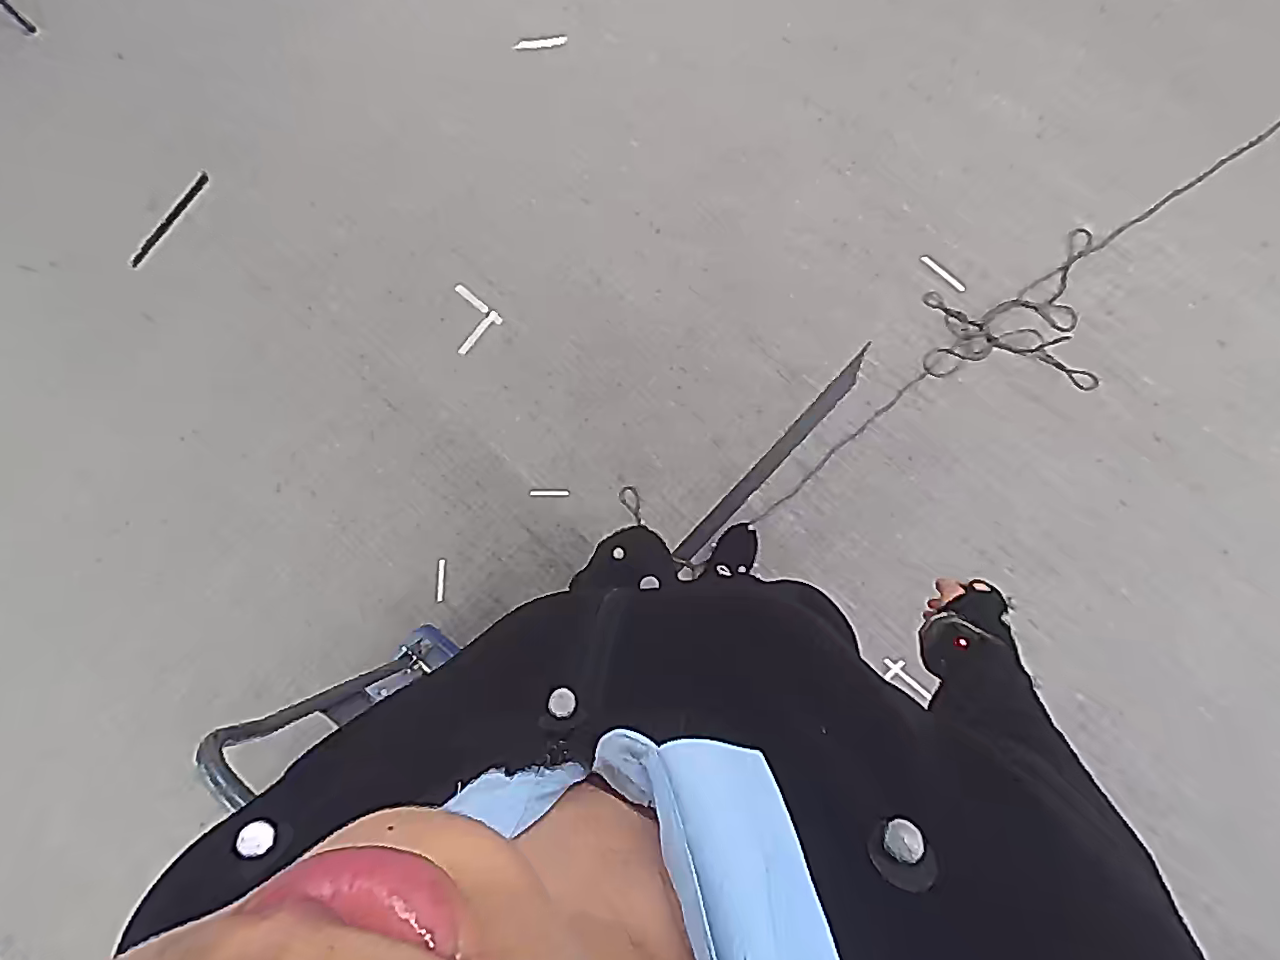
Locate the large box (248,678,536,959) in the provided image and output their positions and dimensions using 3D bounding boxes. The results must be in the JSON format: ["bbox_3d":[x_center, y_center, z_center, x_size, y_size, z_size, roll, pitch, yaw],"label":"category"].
[{"bbox_3d":[-0.504,0.718,1.177,0.408,0.320,0.320,40,89,7],"label":"large box"}]
